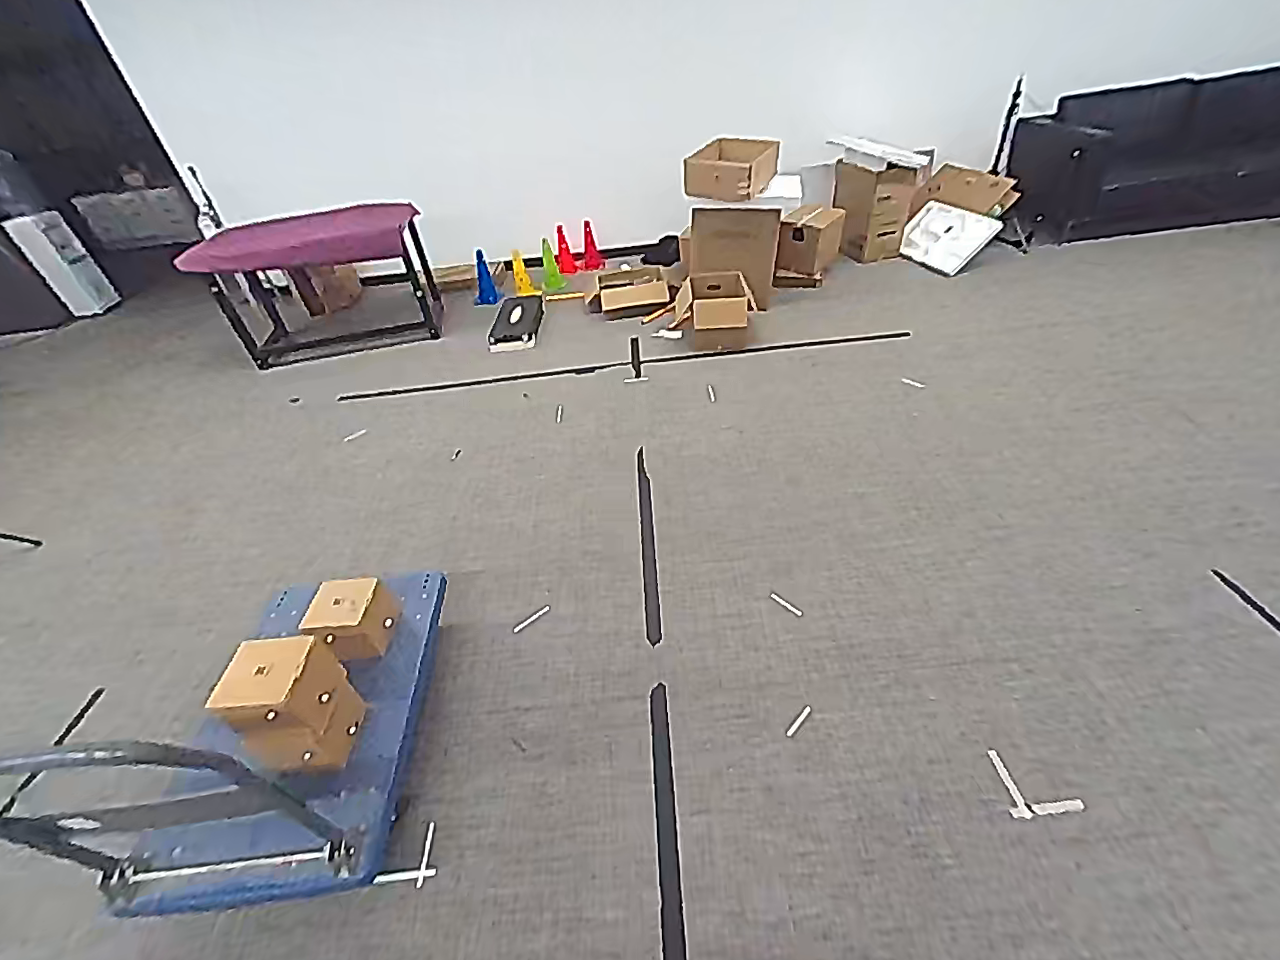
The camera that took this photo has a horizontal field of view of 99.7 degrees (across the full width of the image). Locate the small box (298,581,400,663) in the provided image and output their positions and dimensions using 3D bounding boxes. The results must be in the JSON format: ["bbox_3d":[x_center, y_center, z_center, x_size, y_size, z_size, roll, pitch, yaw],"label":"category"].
[{"bbox_3d":[-0.838,0.417,1.576,0.179,0.176,0.168,-4,41,3],"label":"small box"}]

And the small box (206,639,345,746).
[{"bbox_3d":[-0.818,0.488,1.236,0.179,0.176,0.168,-5,40,0],"label":"small box"}]
